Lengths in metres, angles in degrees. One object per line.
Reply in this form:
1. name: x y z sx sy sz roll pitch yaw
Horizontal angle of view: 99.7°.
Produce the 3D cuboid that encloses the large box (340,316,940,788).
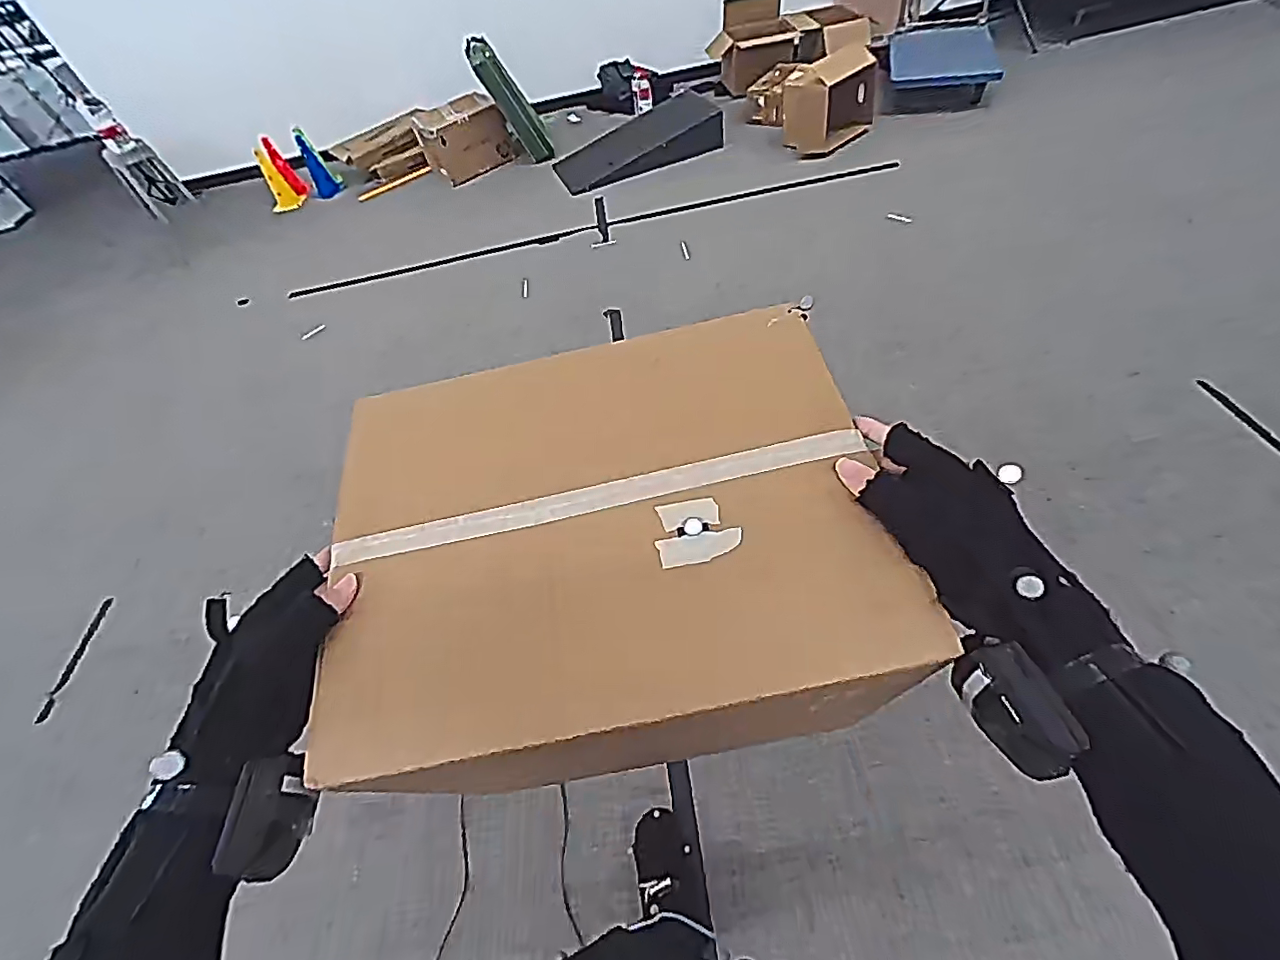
1. large box: -0.010 0.094 0.547 0.408 0.320 0.320 -12 59 1
